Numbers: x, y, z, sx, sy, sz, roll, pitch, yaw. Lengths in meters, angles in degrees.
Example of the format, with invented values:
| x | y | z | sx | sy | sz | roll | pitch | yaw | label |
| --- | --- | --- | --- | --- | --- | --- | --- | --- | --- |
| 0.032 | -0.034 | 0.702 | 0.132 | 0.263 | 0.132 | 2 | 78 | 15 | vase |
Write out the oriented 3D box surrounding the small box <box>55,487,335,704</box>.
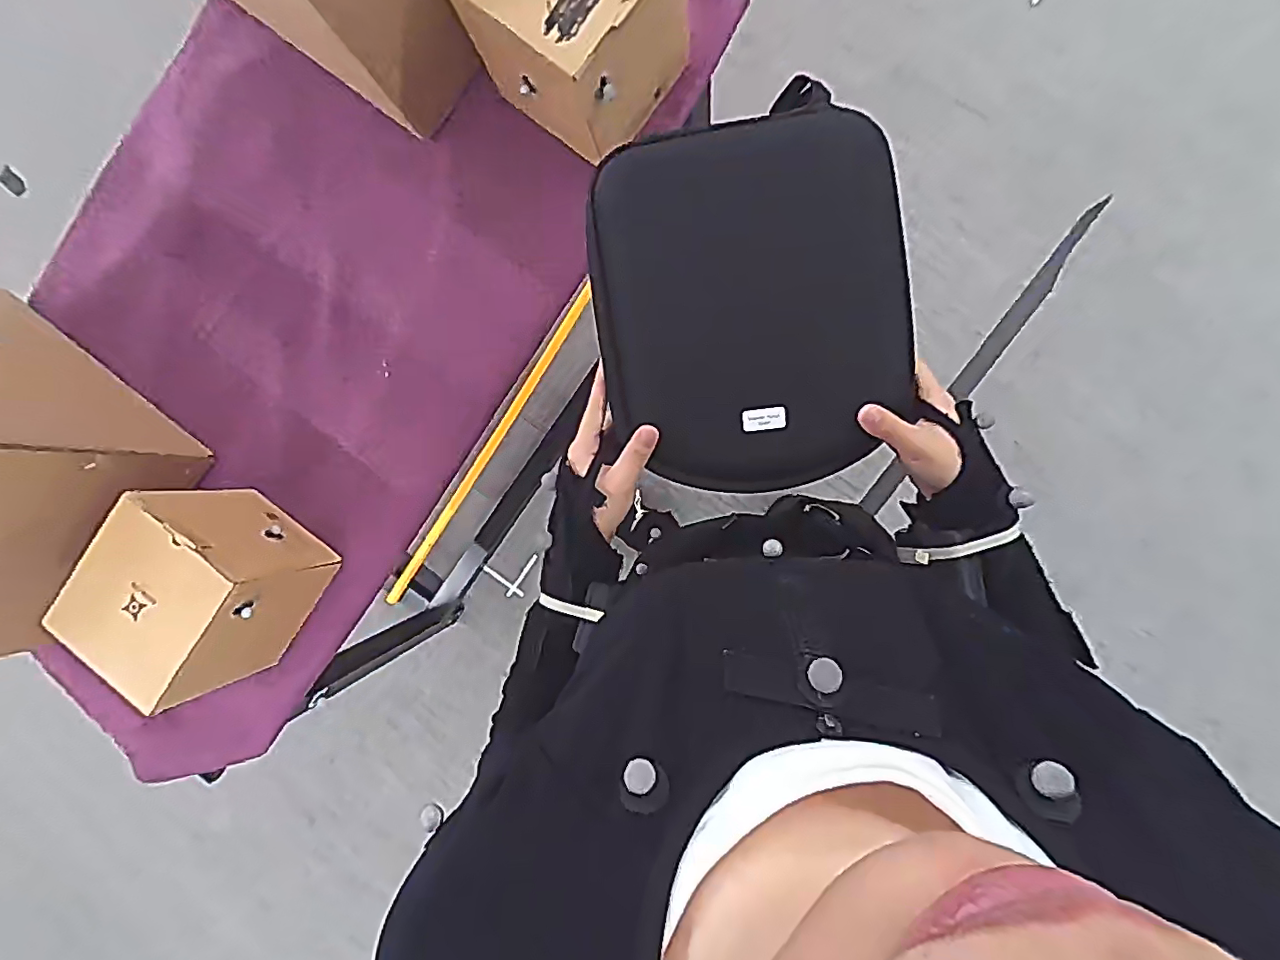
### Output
| x | y | z | sx | sy | sz | roll | pitch | yaw | label |
| --- | --- | --- | --- | --- | --- | --- | --- | --- | --- |
| -0.519 | 0.125 | 0.657 | 0.168 | 0.176 | 0.179 | 34 | 94 | 7 | small box |
